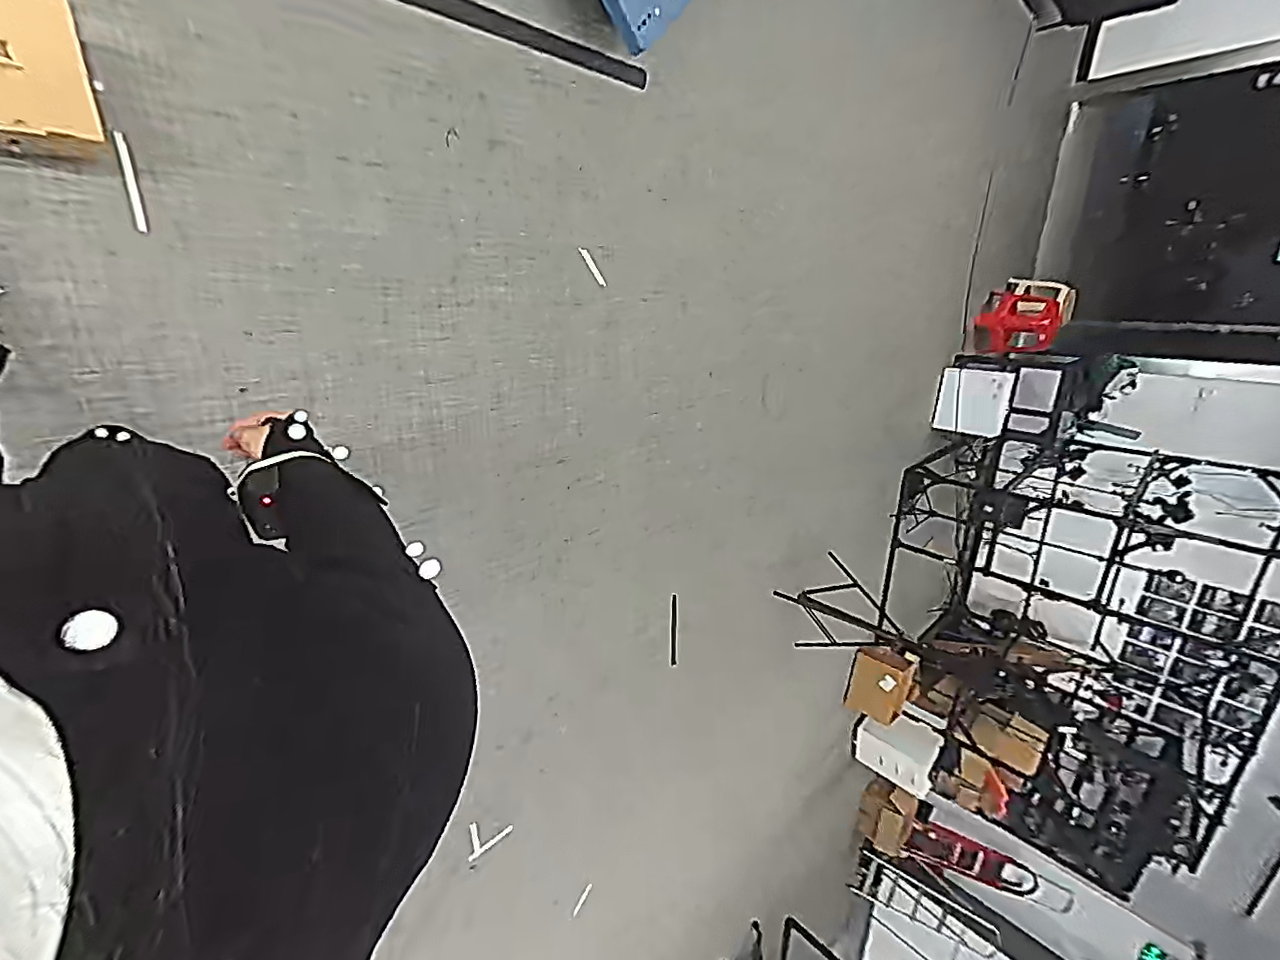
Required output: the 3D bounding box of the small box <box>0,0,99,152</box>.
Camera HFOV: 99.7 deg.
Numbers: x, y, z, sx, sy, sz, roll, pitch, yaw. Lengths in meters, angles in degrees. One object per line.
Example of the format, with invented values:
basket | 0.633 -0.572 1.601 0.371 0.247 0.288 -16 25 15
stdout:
small box | -0.885 -0.576 0.743 0.168 0.176 0.179 -17 117 -43
